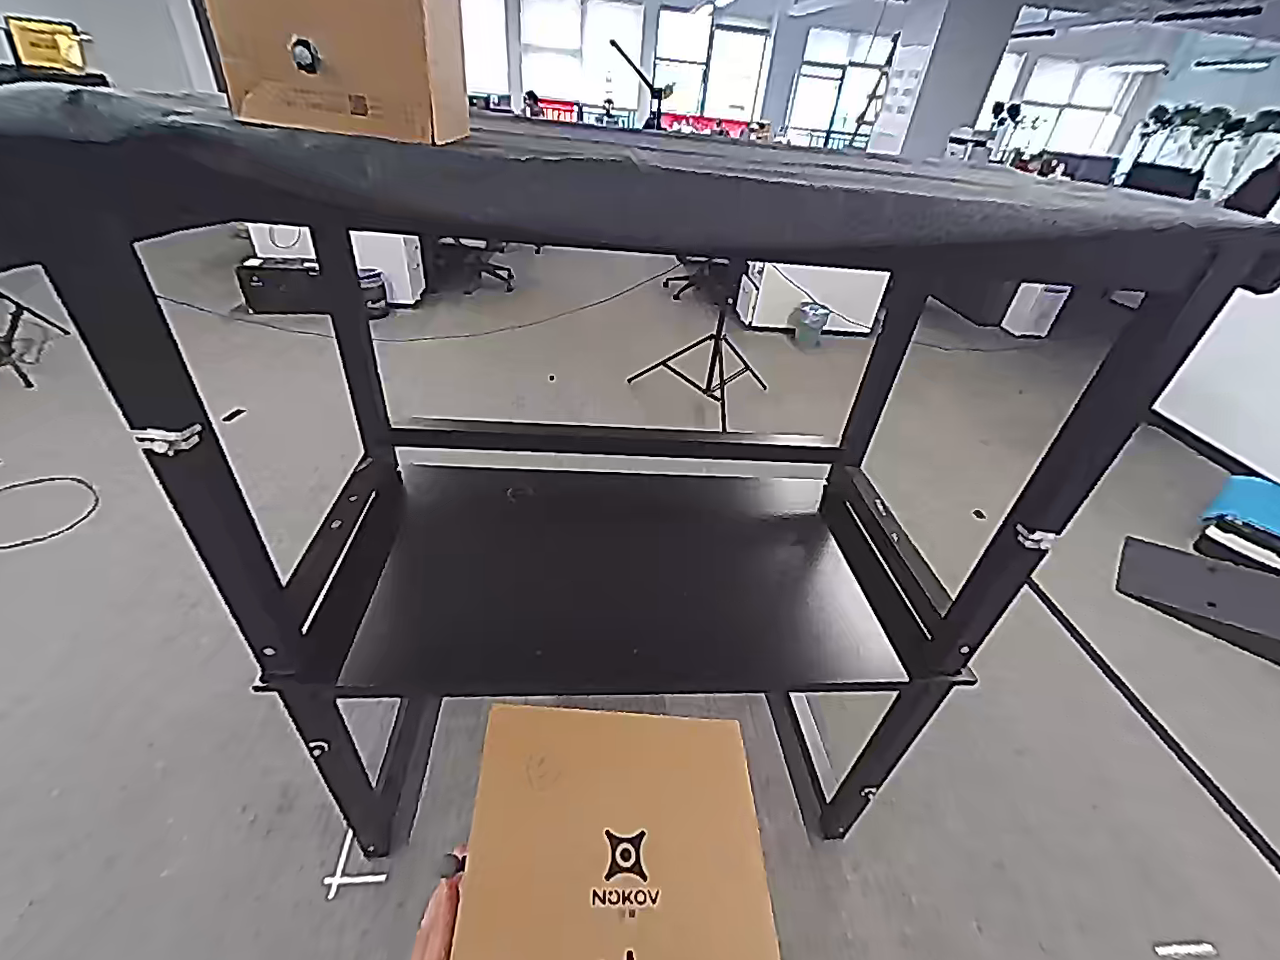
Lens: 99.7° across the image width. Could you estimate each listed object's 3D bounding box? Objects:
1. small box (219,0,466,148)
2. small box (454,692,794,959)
[{"bbox_3d":[-0.258,-0.414,0.491,0.168,0.176,0.179,2,35,-8],"label":"small box"},{"bbox_3d":[-0.024,0.259,0.337,0.168,0.176,0.179,8,43,-11],"label":"small box"}]
